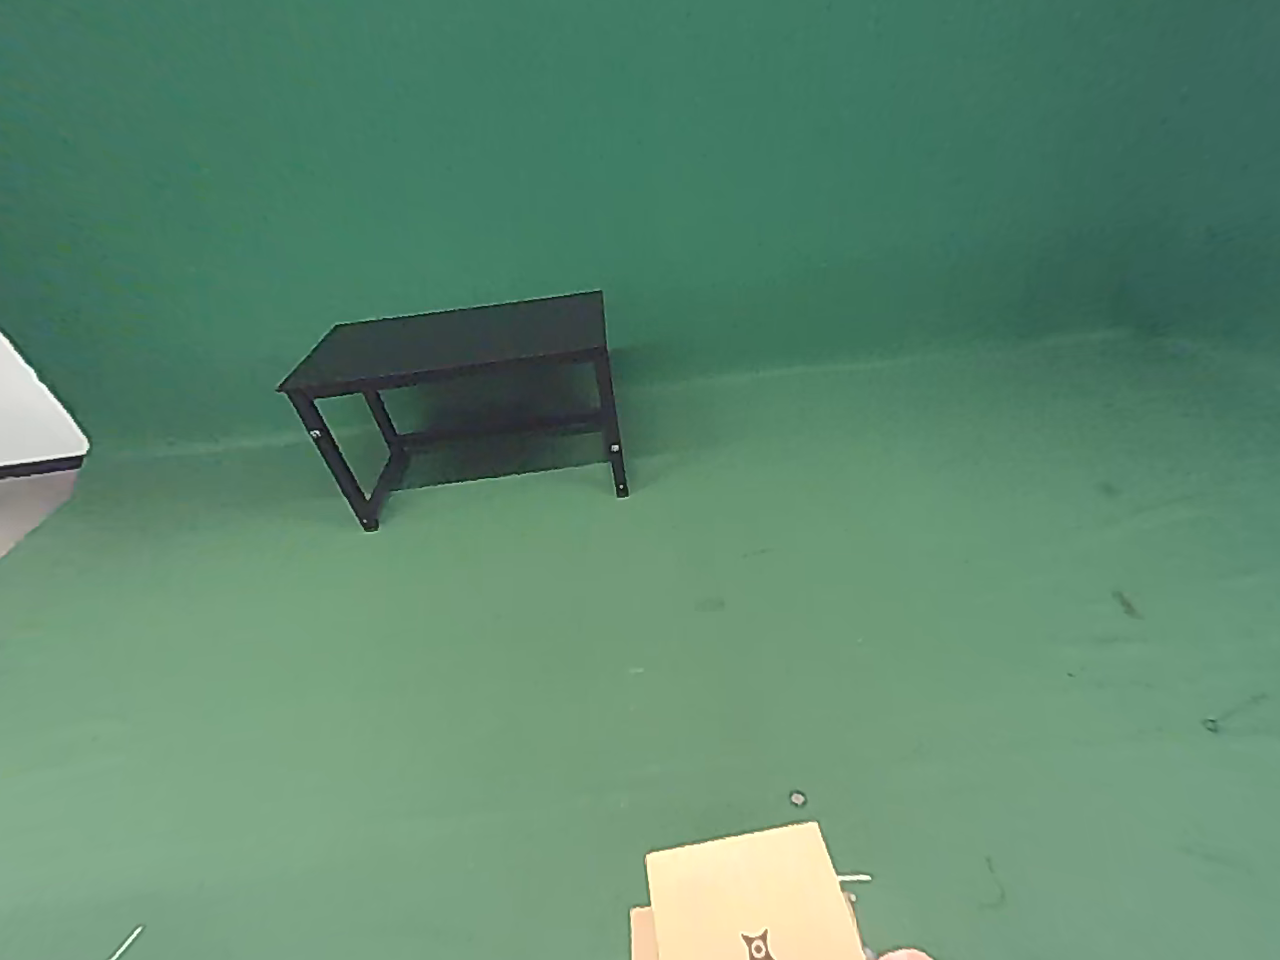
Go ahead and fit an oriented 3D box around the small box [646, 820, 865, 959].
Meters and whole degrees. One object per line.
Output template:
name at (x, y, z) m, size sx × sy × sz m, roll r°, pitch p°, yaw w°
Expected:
small box at (0.101, 0.439, 0.477) m, size 0.168 × 0.176 × 0.179 m, roll -9°, pitch 39°, yaw -2°
